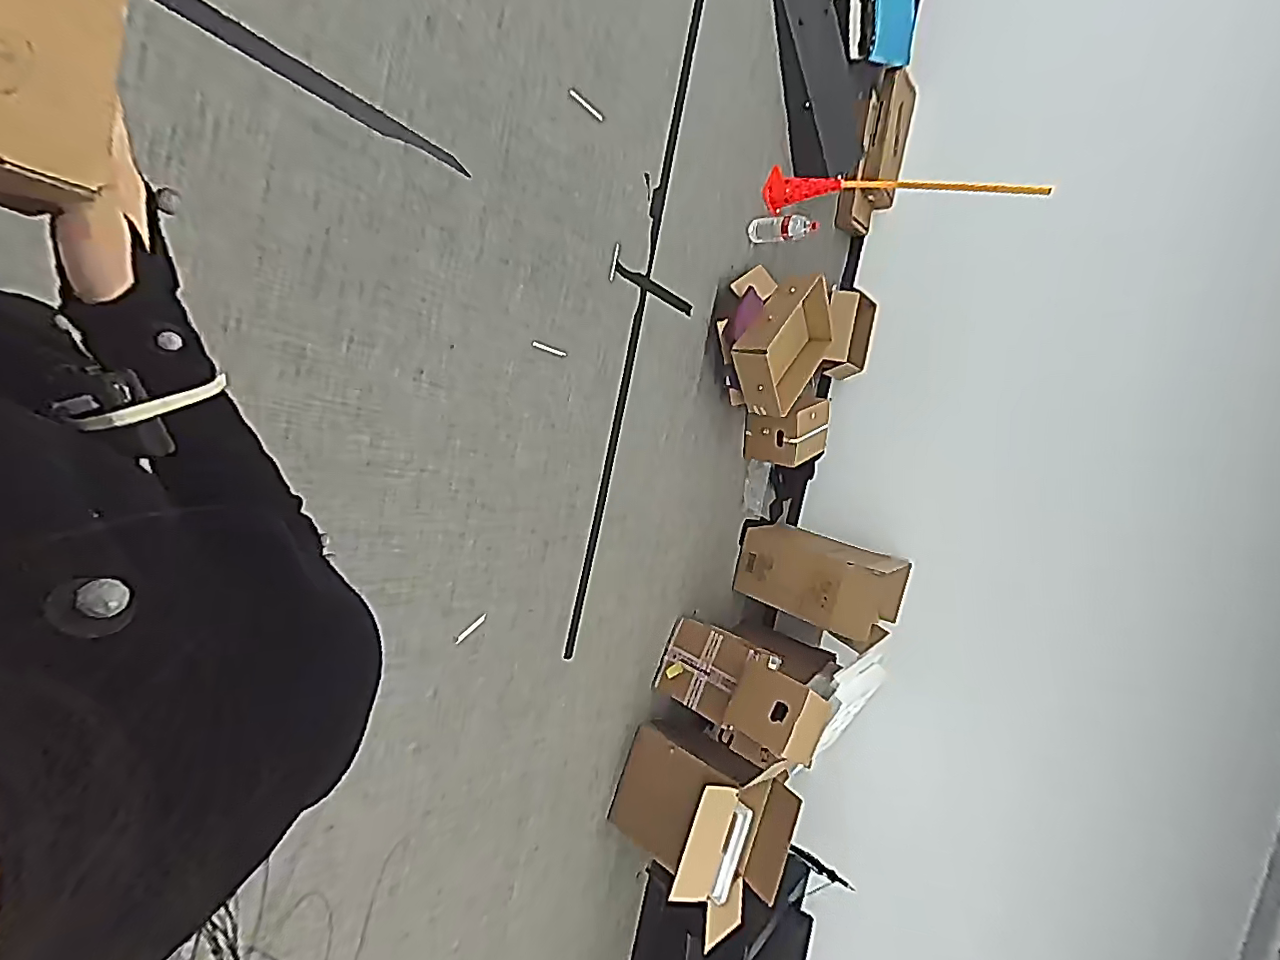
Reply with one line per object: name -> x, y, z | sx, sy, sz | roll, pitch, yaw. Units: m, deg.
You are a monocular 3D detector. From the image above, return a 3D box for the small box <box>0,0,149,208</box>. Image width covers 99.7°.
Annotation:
small box -> -0.328, -0.230, 0.217 | 0.168, 0.176, 0.179 | 5, 99, -57
